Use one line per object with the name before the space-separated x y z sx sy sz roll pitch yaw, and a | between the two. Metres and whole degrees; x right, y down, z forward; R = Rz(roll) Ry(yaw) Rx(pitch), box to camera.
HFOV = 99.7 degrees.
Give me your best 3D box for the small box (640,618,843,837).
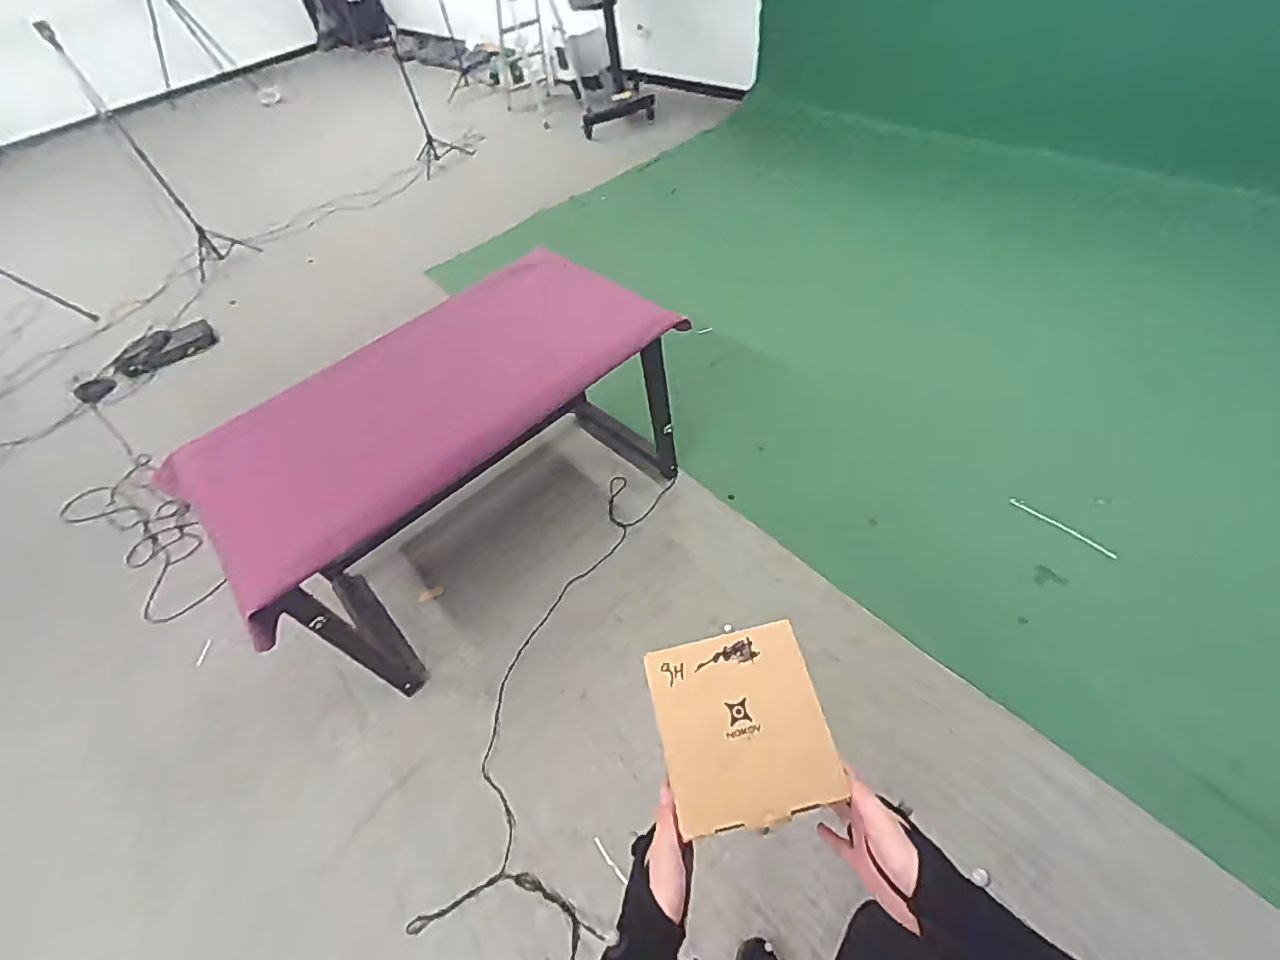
small box | 0.104 0.278 0.616 0.168 0.176 0.179 -14 61 -2
